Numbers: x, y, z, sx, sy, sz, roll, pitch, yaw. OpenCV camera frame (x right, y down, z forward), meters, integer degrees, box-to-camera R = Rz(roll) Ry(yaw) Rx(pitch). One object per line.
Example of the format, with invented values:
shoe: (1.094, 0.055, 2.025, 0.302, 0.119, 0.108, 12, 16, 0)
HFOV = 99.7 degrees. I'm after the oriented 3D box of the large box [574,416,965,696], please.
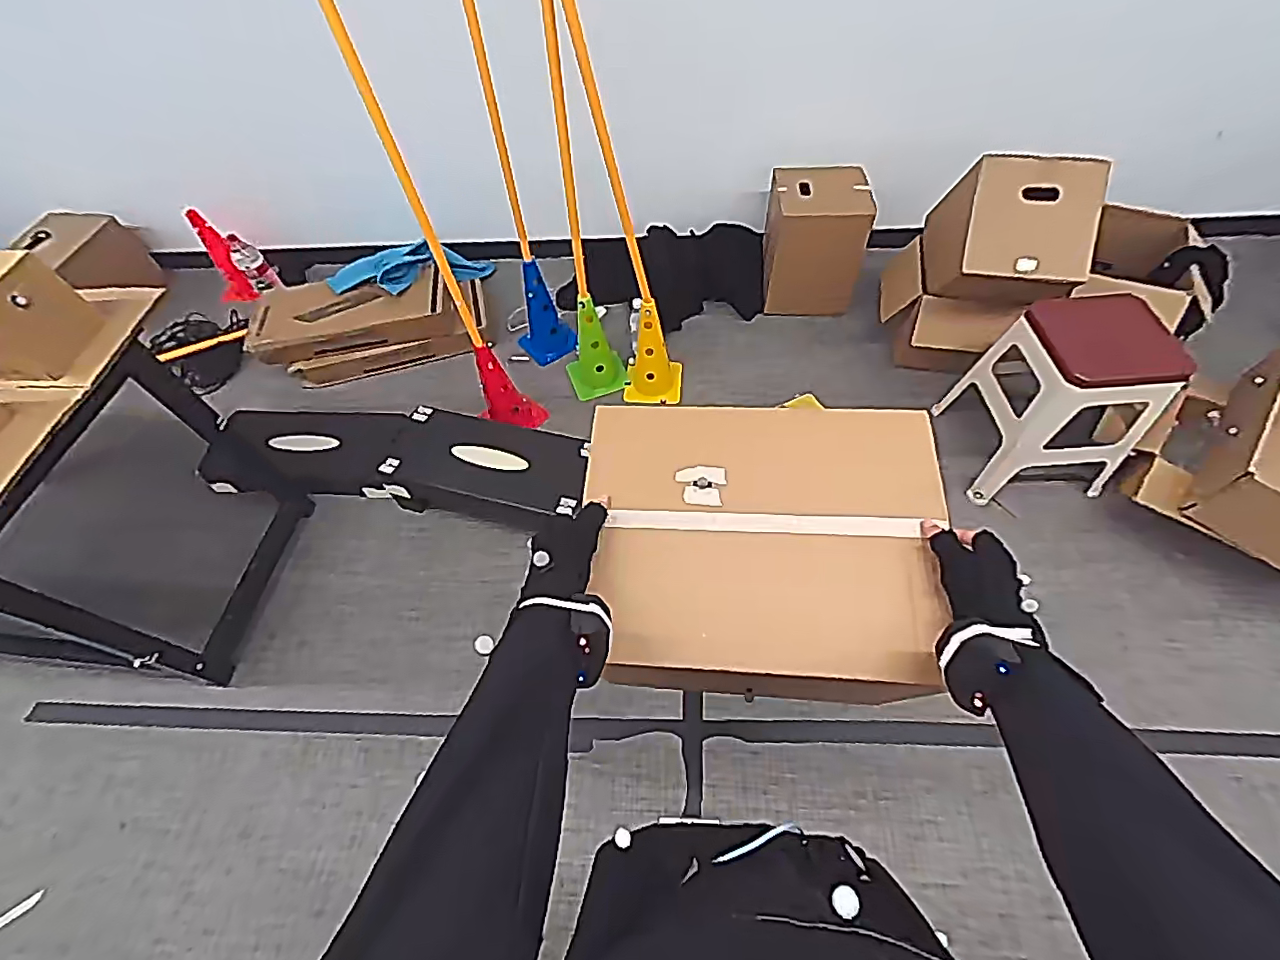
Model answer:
large box: (0.151, 0.121, 0.751, 0.408, 0.320, 0.320, 2, 64, 7)
